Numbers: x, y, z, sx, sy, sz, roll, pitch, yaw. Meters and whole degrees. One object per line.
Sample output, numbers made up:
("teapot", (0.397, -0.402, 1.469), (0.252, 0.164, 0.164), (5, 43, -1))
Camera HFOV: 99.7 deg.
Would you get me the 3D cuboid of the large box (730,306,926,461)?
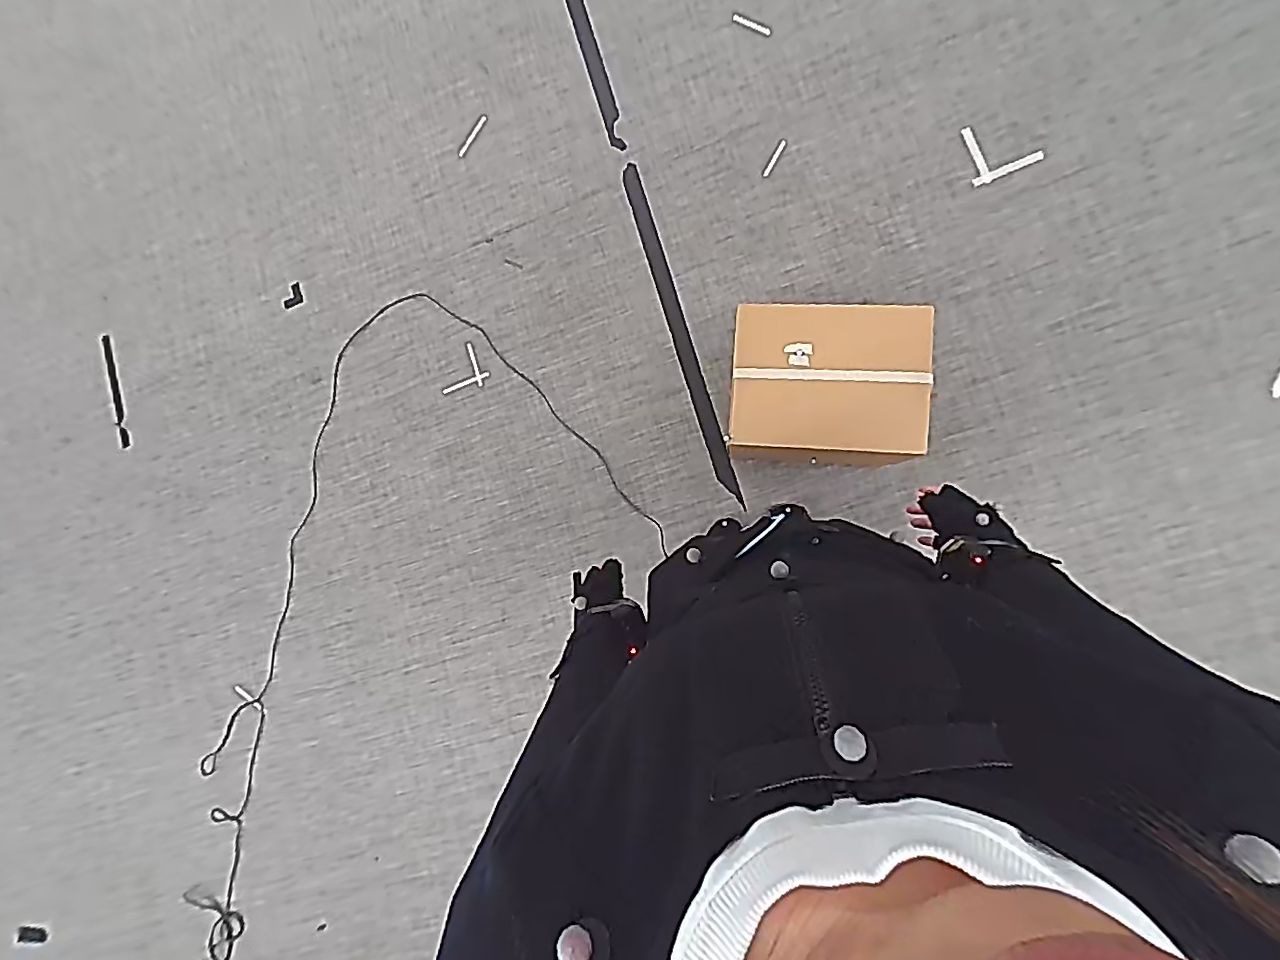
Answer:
("large box", (0.430, -0.213, 1.309), (0.408, 0.320, 0.320), (3, 87, 11))
